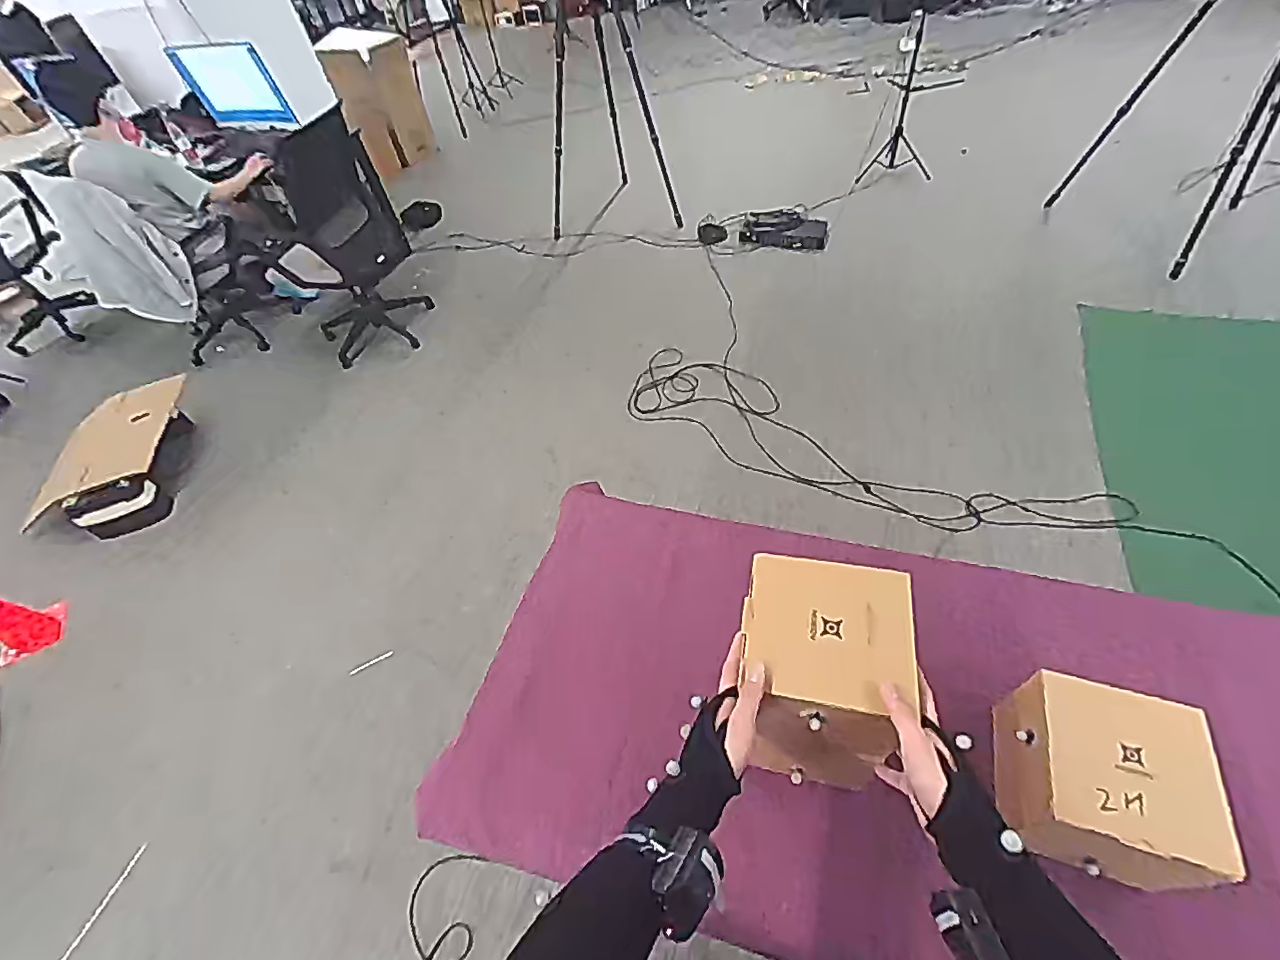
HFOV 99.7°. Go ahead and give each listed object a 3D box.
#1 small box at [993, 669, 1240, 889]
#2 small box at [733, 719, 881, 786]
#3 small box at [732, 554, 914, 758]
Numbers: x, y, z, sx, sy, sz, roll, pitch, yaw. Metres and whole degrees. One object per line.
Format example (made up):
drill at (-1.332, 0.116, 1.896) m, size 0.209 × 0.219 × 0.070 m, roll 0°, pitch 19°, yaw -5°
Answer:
small box at (0.558, 0.368, 0.668) m, size 0.168 × 0.176 × 0.179 m, roll 12°, pitch 54°, yaw 19°
small box at (0.231, 0.316, 0.767) m, size 0.179 × 0.176 × 0.168 m, roll 7°, pitch 52°, yaw 15°
small box at (0.209, 0.211, 0.643) m, size 0.179 × 0.176 × 0.168 m, roll 7°, pitch 53°, yaw 15°
